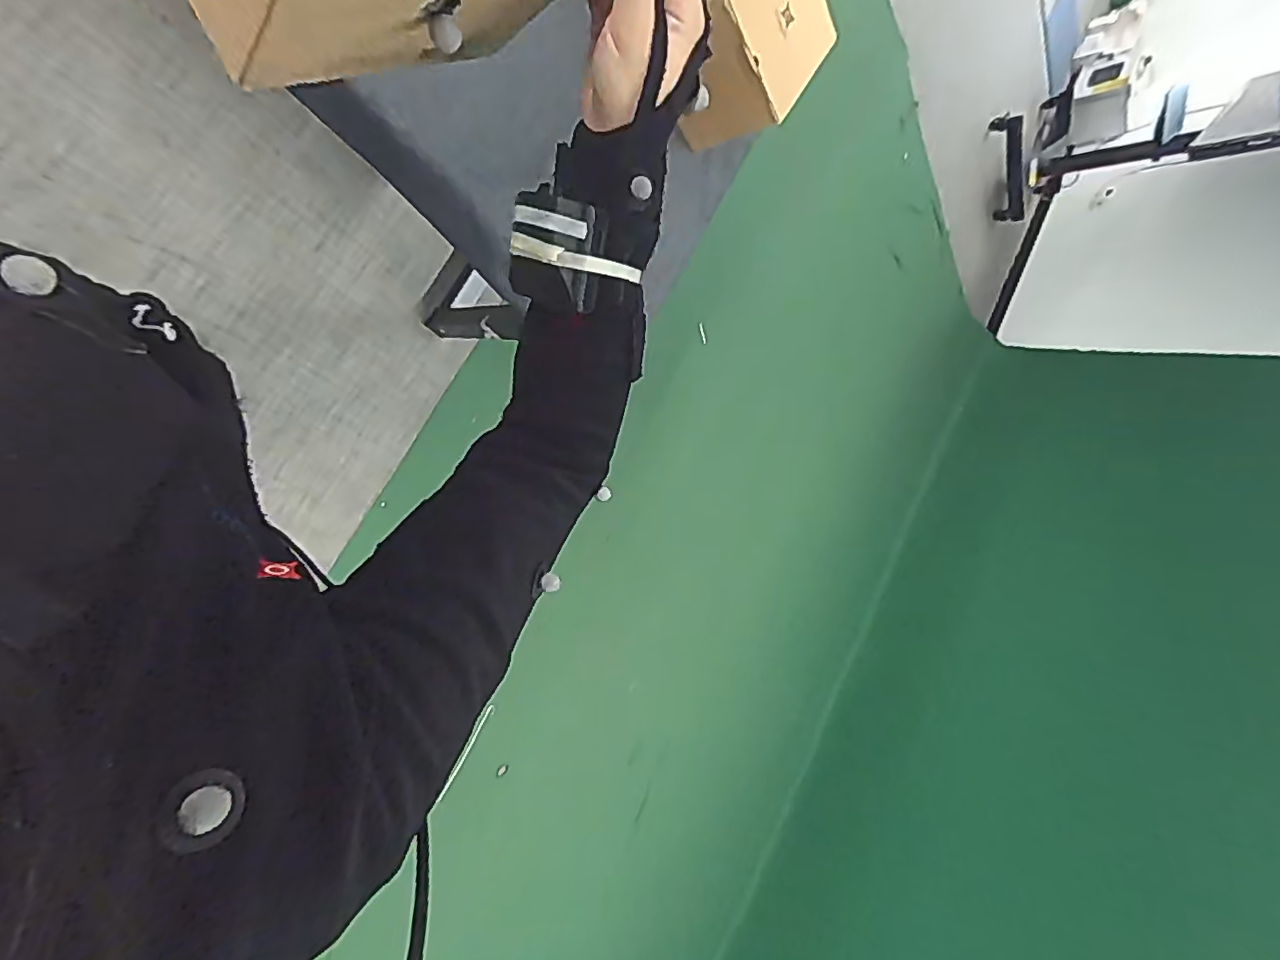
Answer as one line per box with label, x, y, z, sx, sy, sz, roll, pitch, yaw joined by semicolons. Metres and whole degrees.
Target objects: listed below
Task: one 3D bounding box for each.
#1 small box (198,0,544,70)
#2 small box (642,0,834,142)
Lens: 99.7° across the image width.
small box;-0.121;-0.302;0.223;0.168;0.176;0.179;-39;124;-32
small box;0.134;-0.615;0.752;0.168;0.176;0.179;41;76;-42
